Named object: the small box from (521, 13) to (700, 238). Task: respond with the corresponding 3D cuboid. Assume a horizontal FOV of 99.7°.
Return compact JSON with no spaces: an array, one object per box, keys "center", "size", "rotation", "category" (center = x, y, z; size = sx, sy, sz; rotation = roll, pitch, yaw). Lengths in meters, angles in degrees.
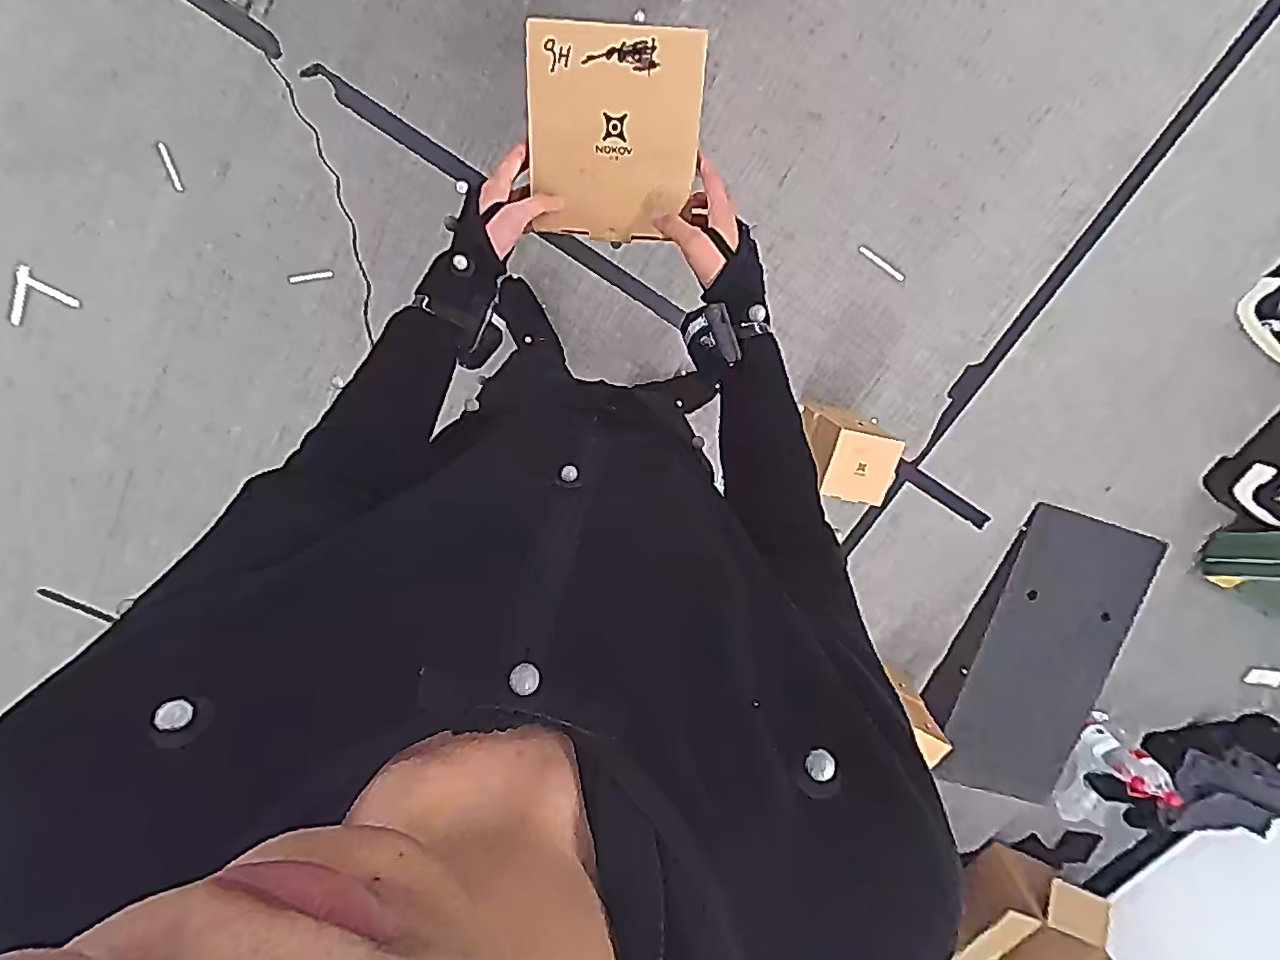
[{"center":[-0.027,-0.373,0.592],"size":[0.168,0.176,0.179],"rotation":[4,118,1],"category":"small box"}]
